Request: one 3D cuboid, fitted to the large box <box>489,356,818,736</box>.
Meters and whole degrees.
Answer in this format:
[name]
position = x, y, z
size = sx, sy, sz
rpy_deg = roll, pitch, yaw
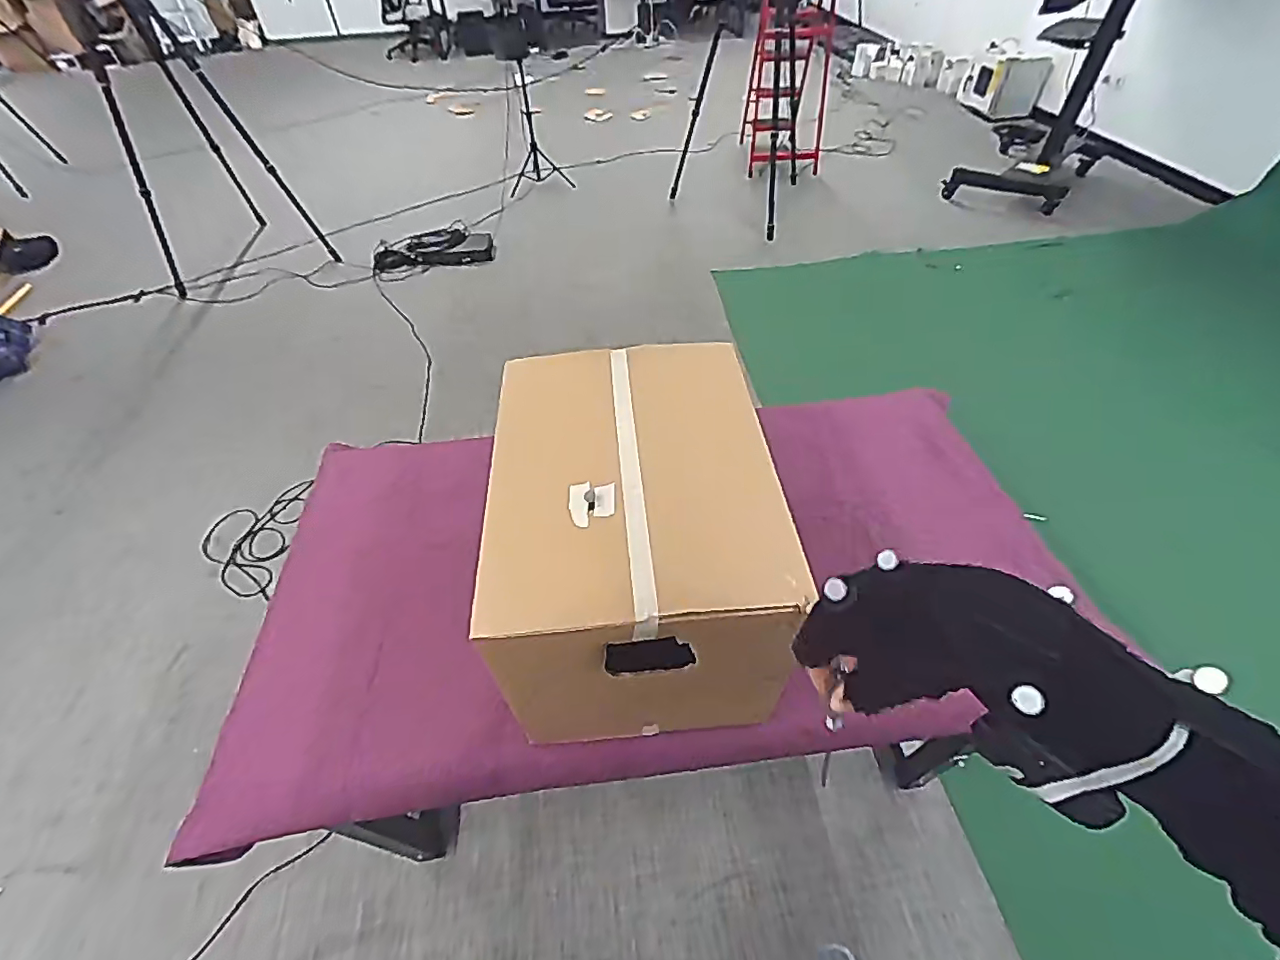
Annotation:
[large box]
position = -0.002, 0.082, 0.734
size = 0.320, 0.320, 0.408
rpy_deg = -5, 49, -2
